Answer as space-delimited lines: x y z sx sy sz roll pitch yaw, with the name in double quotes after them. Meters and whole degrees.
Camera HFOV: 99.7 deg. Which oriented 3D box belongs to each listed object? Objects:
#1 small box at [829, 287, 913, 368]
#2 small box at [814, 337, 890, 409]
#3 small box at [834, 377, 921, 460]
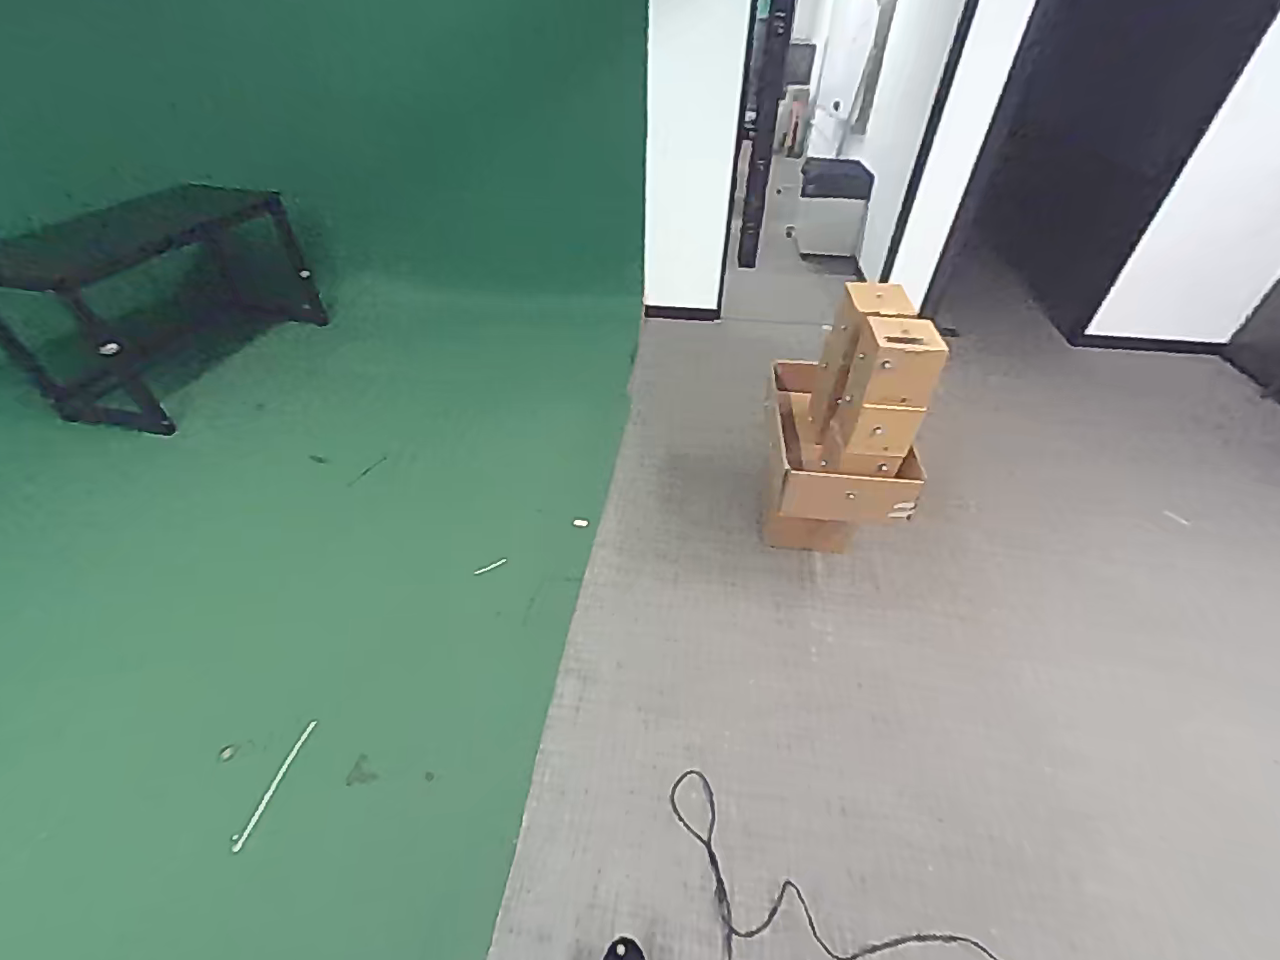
0.673 -0.448 1.597 0.168 0.176 0.179 4 45 2 "small box"
0.664 -0.334 1.713 0.168 0.176 0.179 1 45 0 "small box"
0.666 -0.173 1.539 0.168 0.176 0.179 4 42 3 "small box"
